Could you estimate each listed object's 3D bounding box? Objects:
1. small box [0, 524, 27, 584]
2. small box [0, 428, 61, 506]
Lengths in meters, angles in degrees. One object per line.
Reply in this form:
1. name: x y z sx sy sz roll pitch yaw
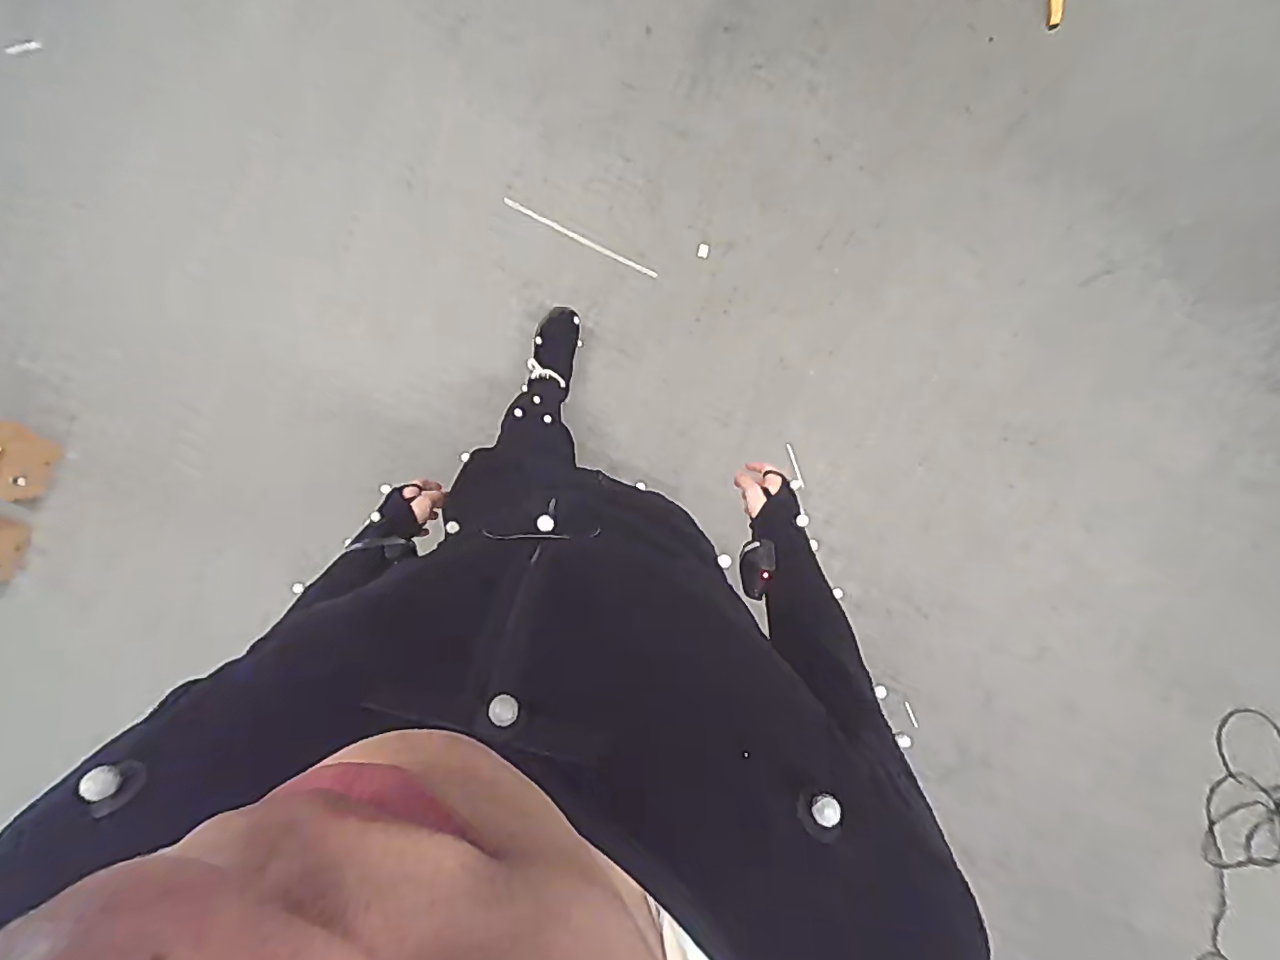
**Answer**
1. small box: -1.865 0.204 1.477 0.179 0.176 0.168 26 93 -4
2. small box: -1.752 -0.039 1.462 0.179 0.176 0.168 25 94 -4
